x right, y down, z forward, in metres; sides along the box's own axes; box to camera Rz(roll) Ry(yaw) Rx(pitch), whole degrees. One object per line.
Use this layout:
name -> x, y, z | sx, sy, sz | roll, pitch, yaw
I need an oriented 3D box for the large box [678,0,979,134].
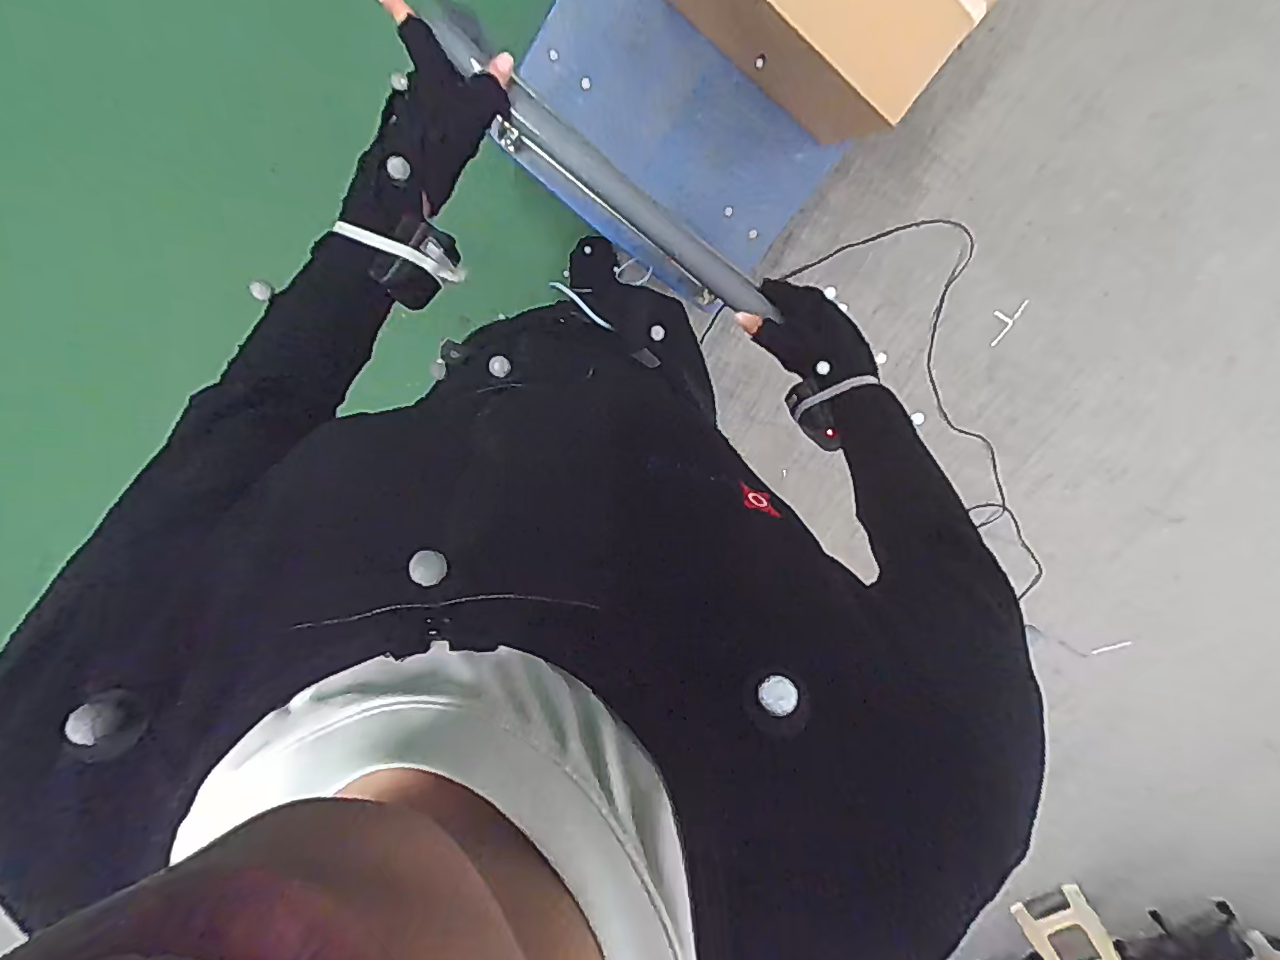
large box -> 0.286, -0.803, 0.808 | 0.408, 0.320, 0.320 | 32, 112, -16
